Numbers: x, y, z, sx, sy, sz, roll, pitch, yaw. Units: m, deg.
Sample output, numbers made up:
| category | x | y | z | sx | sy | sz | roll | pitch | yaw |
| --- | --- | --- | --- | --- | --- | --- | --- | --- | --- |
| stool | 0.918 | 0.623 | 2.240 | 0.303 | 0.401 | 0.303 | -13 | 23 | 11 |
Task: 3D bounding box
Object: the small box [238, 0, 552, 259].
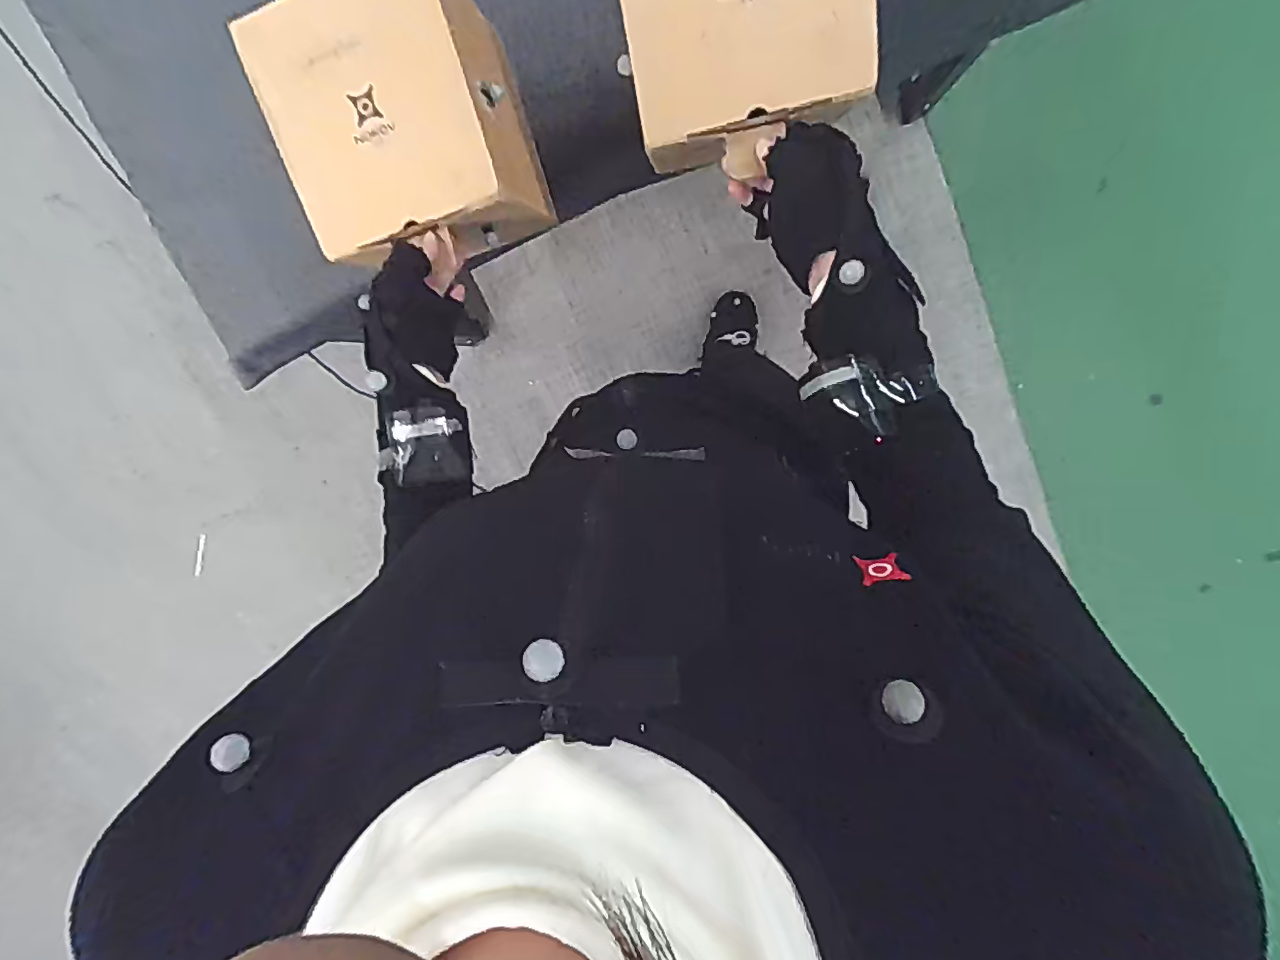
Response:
| category | x | y | z | sx | sy | sz | roll | pitch | yaw |
| --- | --- | --- | --- | --- | --- | --- | --- | --- | --- |
| small box | -0.199 | -0.316 | 0.497 | 0.168 | 0.176 | 0.179 | -15 | 105 | 12 |
